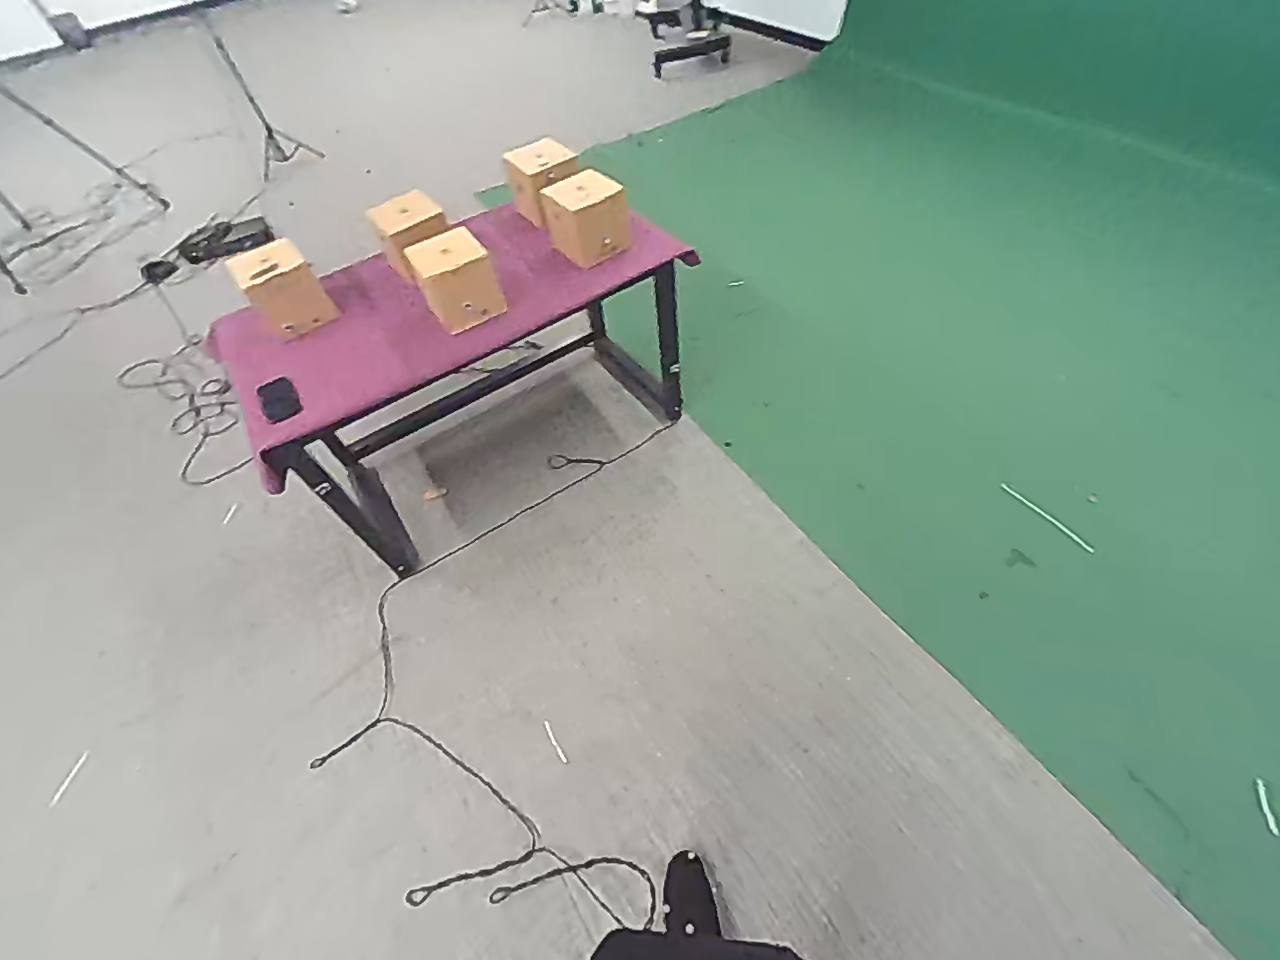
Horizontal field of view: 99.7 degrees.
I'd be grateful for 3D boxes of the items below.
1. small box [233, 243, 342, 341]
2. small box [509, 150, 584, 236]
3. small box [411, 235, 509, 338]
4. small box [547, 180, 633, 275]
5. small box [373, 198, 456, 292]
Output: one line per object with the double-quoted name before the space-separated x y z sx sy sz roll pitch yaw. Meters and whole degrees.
"small box" -0.940 -0.498 1.455 0.168 0.176 0.179 -33 56 -19
"small box" -0.280 -0.890 1.681 0.168 0.176 0.179 -33 56 -16
"small box" -0.465 -0.501 1.410 0.168 0.176 0.179 -29 55 -16
"small box" -0.138 -0.711 1.529 0.168 0.176 0.179 -32 55 -16
"small box" -0.629 -0.673 1.557 0.168 0.176 0.179 -34 58 -17
